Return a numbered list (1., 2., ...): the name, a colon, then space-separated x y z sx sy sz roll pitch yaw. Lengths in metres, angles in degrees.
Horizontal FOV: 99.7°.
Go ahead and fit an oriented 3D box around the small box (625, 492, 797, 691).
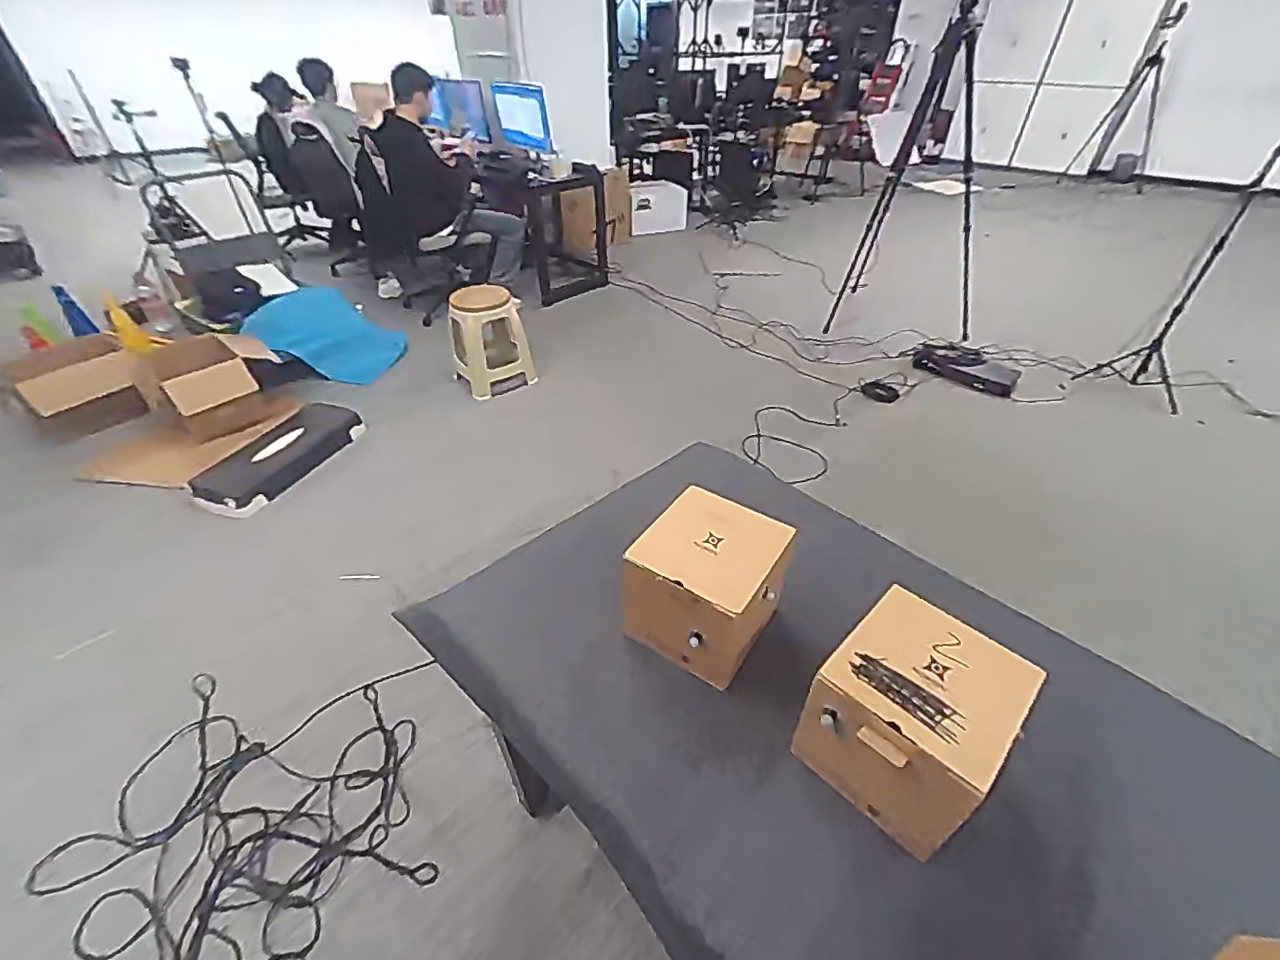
1. small box: 0.095 0.153 0.750 0.168 0.176 0.179 24 43 26
